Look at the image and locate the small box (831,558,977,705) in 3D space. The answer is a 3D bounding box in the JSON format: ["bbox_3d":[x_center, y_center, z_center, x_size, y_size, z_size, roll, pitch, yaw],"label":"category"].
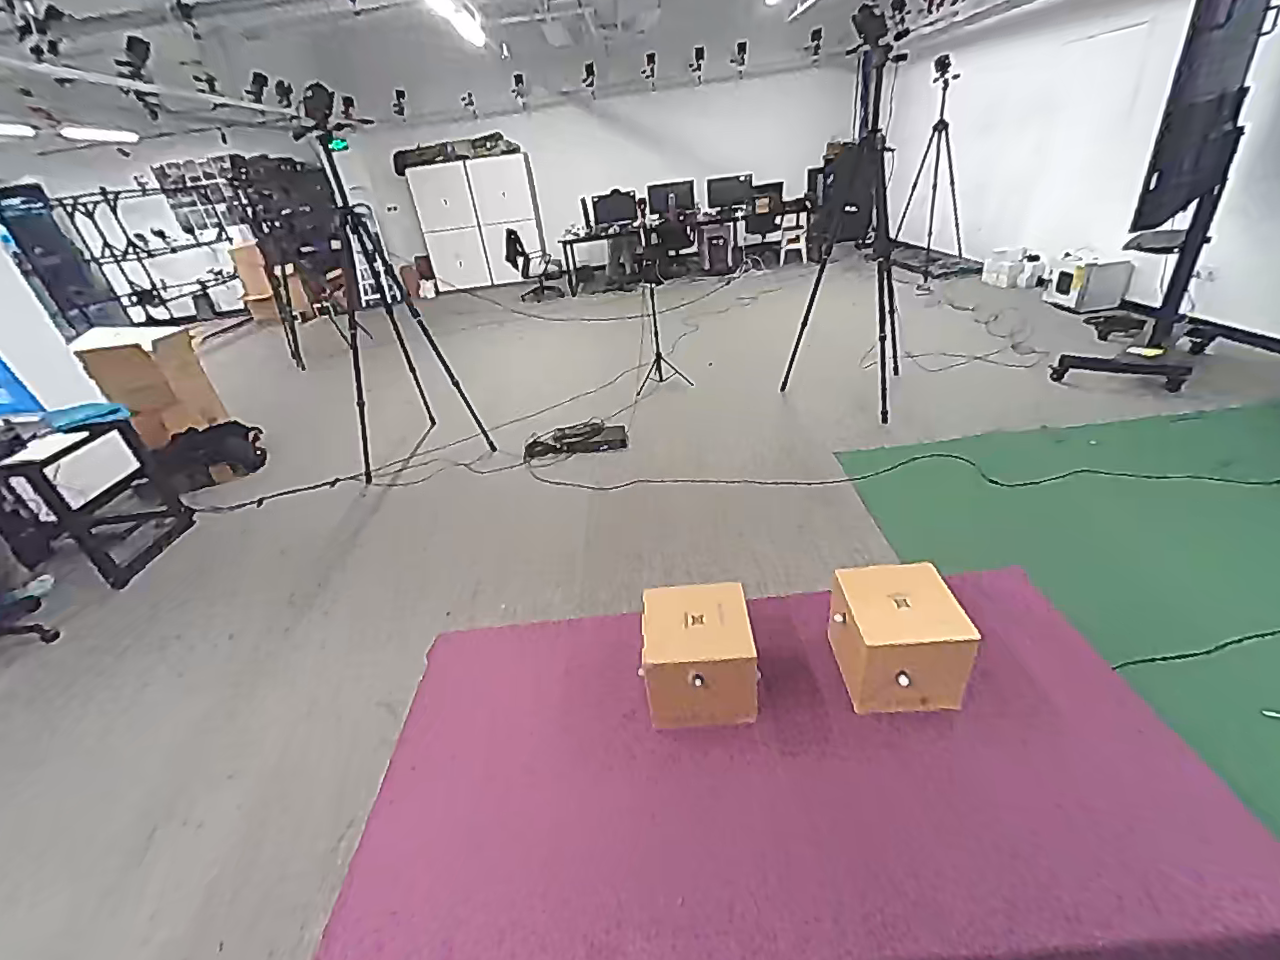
[{"bbox_3d":[0.426,0.255,0.902,0.168,0.176,0.179,-6,30,5],"label":"small box"}]

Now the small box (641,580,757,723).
[{"bbox_3d":[0.100,0.293,0.923,0.179,0.176,0.168,-5,31,5],"label":"small box"}]
